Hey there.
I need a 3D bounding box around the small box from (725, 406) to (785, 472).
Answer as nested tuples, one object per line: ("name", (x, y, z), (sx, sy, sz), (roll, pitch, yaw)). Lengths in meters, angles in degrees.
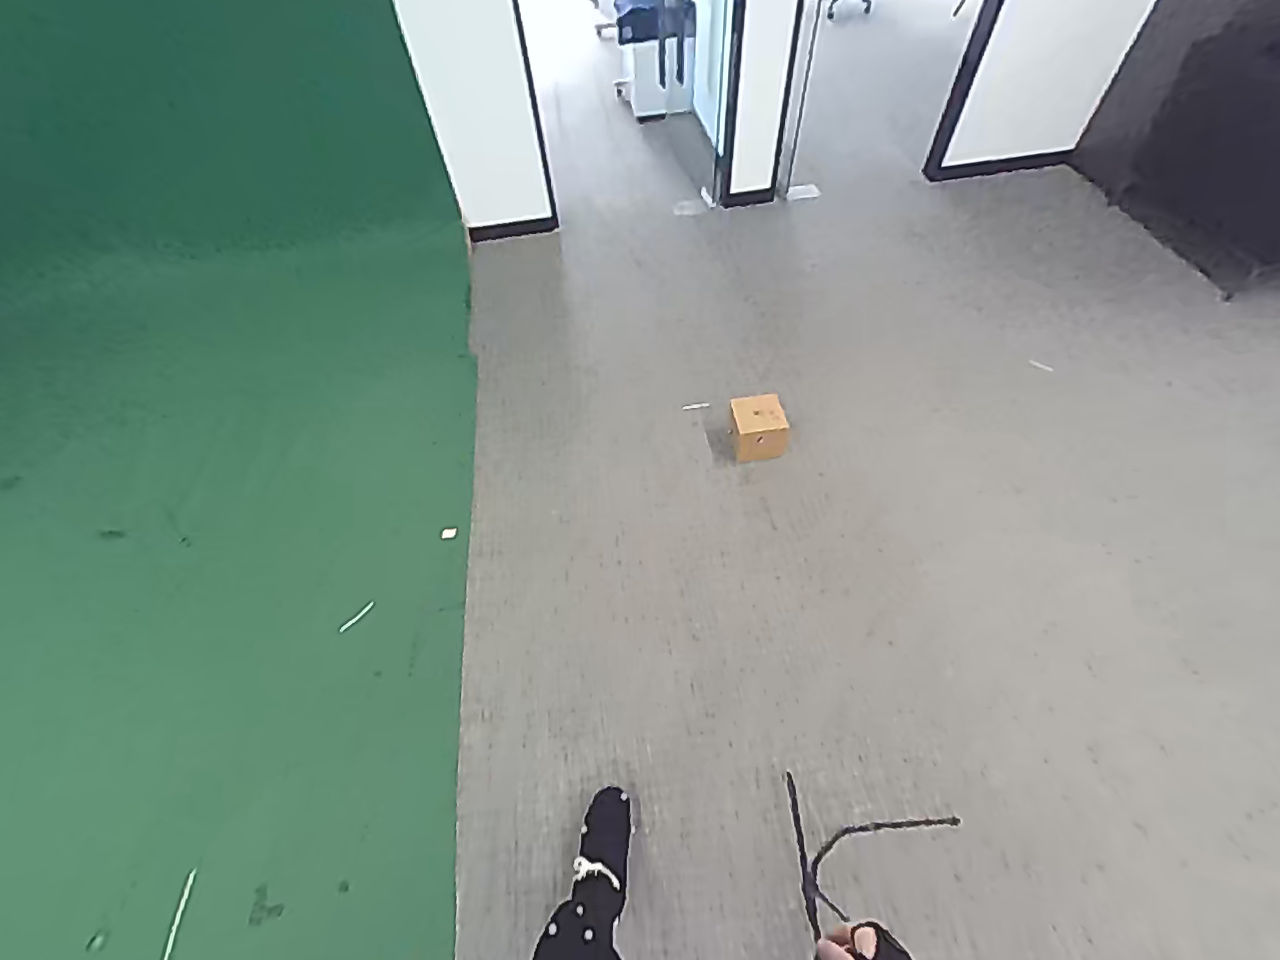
("small box", (0.412, -0.144, 1.972), (0.179, 0.176, 0.168), (-7, 54, -3))
